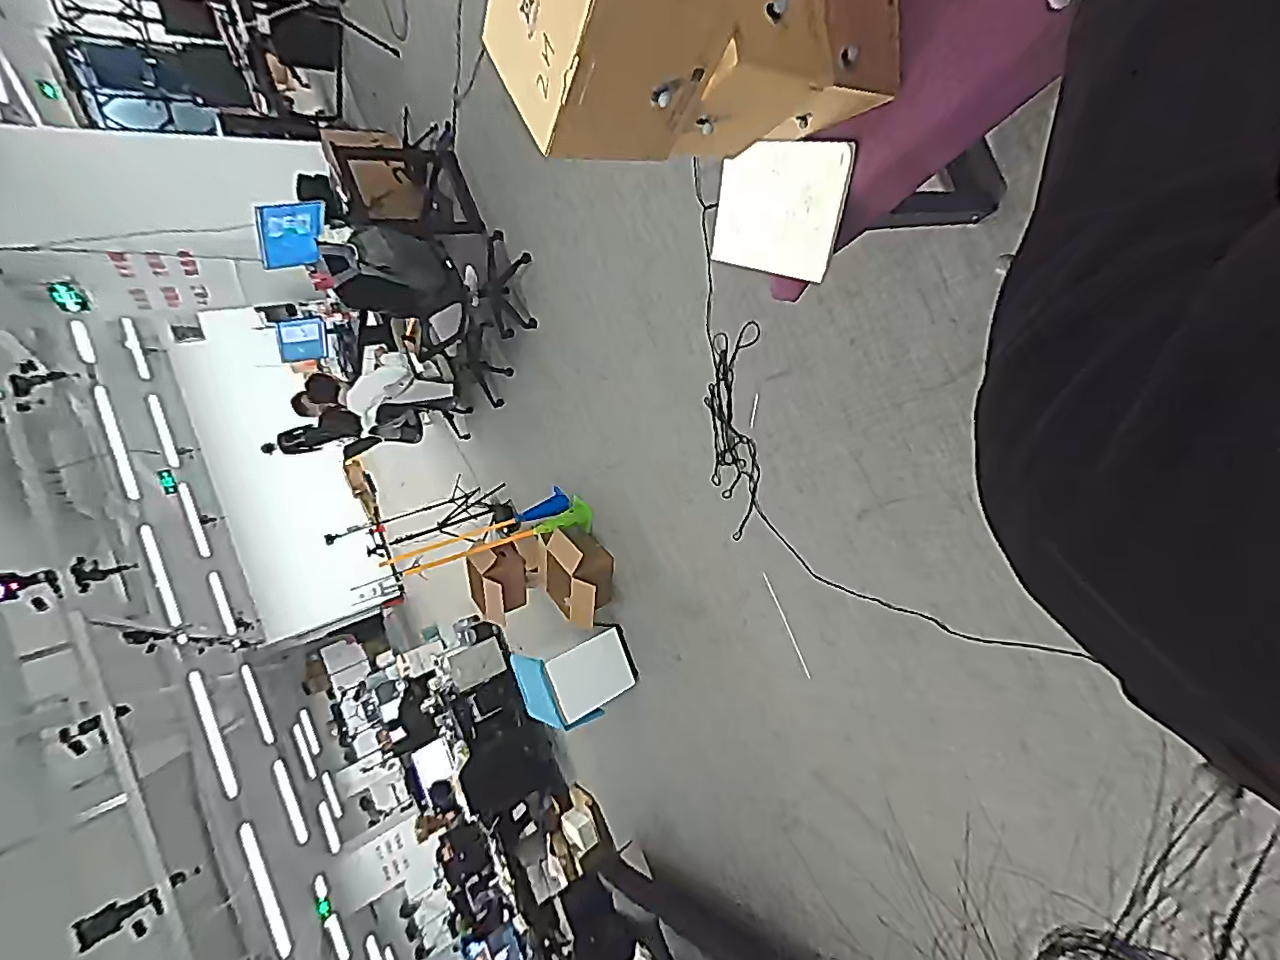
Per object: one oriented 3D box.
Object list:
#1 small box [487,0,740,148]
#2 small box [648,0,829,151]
[{"bbox_3d":[-0.033,-0.472,0.558,0.179,0.176,0.168,63,148,10],"label":"small box"},{"bbox_3d":[0.102,-0.519,0.640,0.179,0.176,0.168,-2,105,57],"label":"small box"}]
